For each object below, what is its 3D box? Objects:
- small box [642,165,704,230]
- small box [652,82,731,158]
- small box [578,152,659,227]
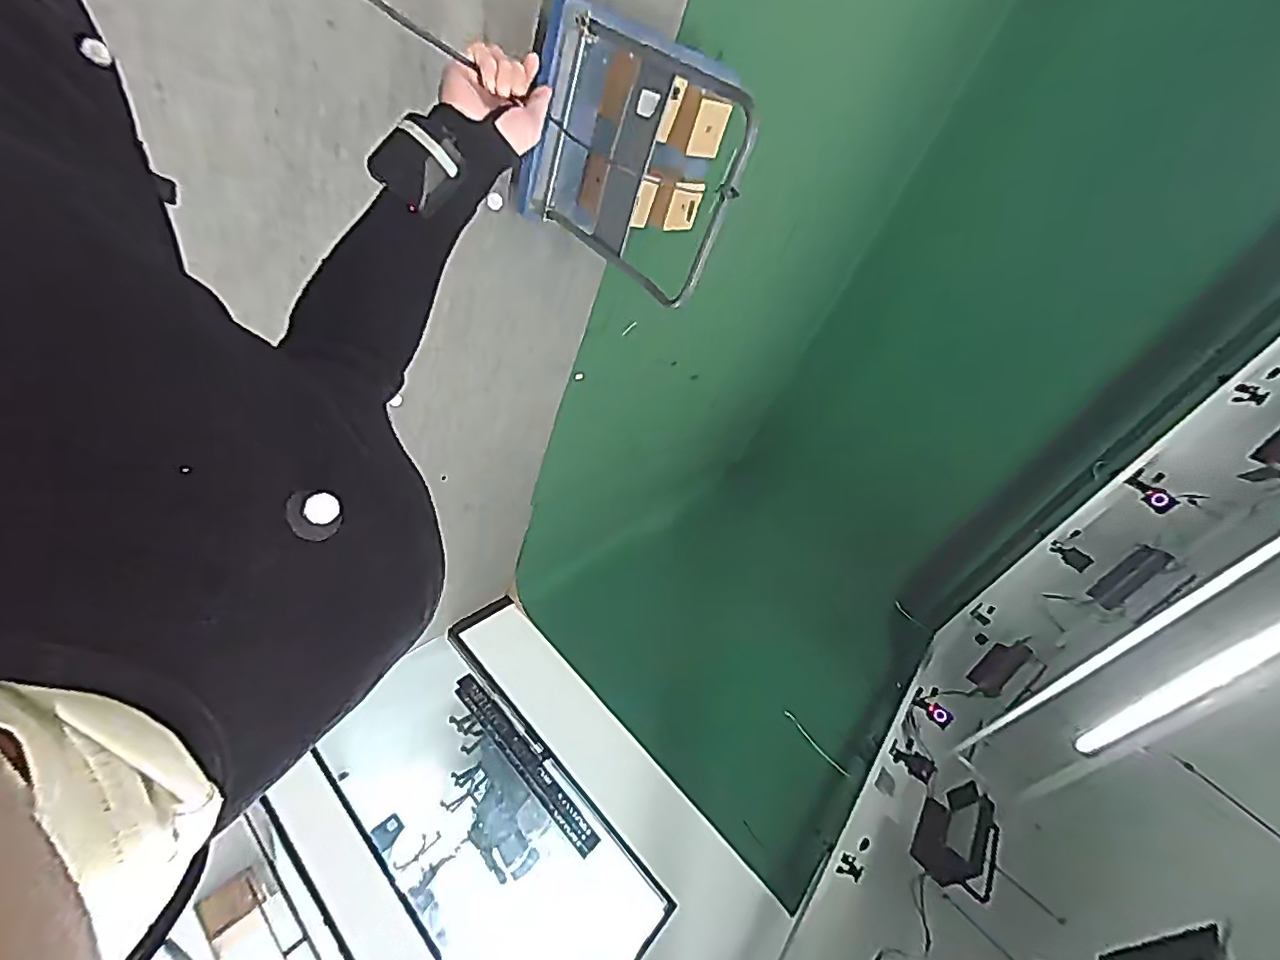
[{"bbox_3d":[0.098,-1.047,2.003,0.179,0.176,0.168,-25,148,-42],"label":"small box"},{"bbox_3d":[0.170,-1.226,1.842,0.179,0.176,0.168,-27,150,-42],"label":"small box"},{"bbox_3d":[-0.075,-0.971,1.811,0.179,0.176,0.168,-22,146,-46],"label":"small box"}]
